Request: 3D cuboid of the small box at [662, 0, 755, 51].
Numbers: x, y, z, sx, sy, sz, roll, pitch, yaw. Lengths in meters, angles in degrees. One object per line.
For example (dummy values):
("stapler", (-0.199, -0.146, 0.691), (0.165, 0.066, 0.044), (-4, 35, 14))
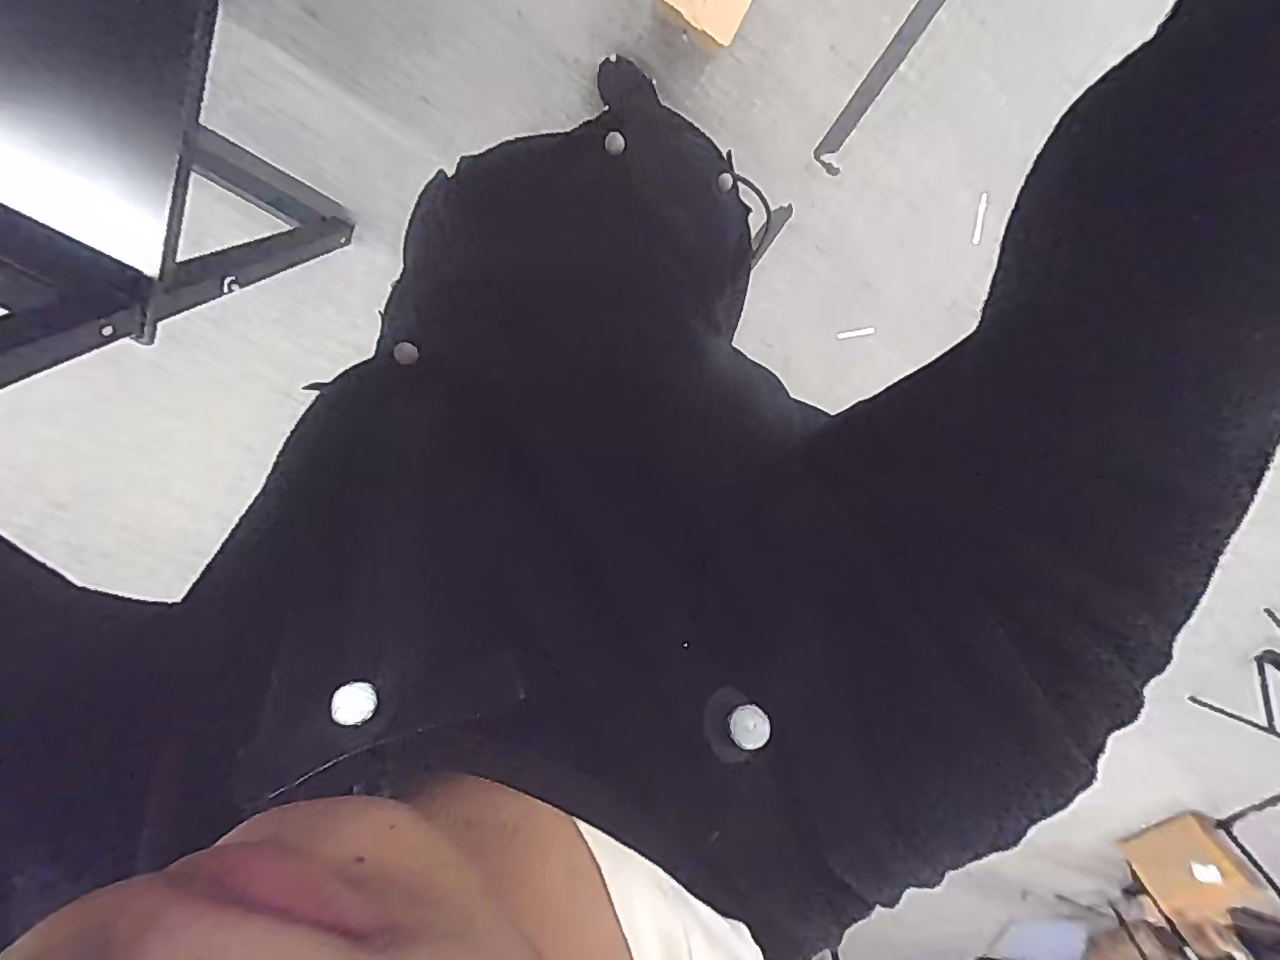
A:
("small box", (0.153, -1.003, 1.076), (0.168, 0.176, 0.179), (26, 119, -16))
